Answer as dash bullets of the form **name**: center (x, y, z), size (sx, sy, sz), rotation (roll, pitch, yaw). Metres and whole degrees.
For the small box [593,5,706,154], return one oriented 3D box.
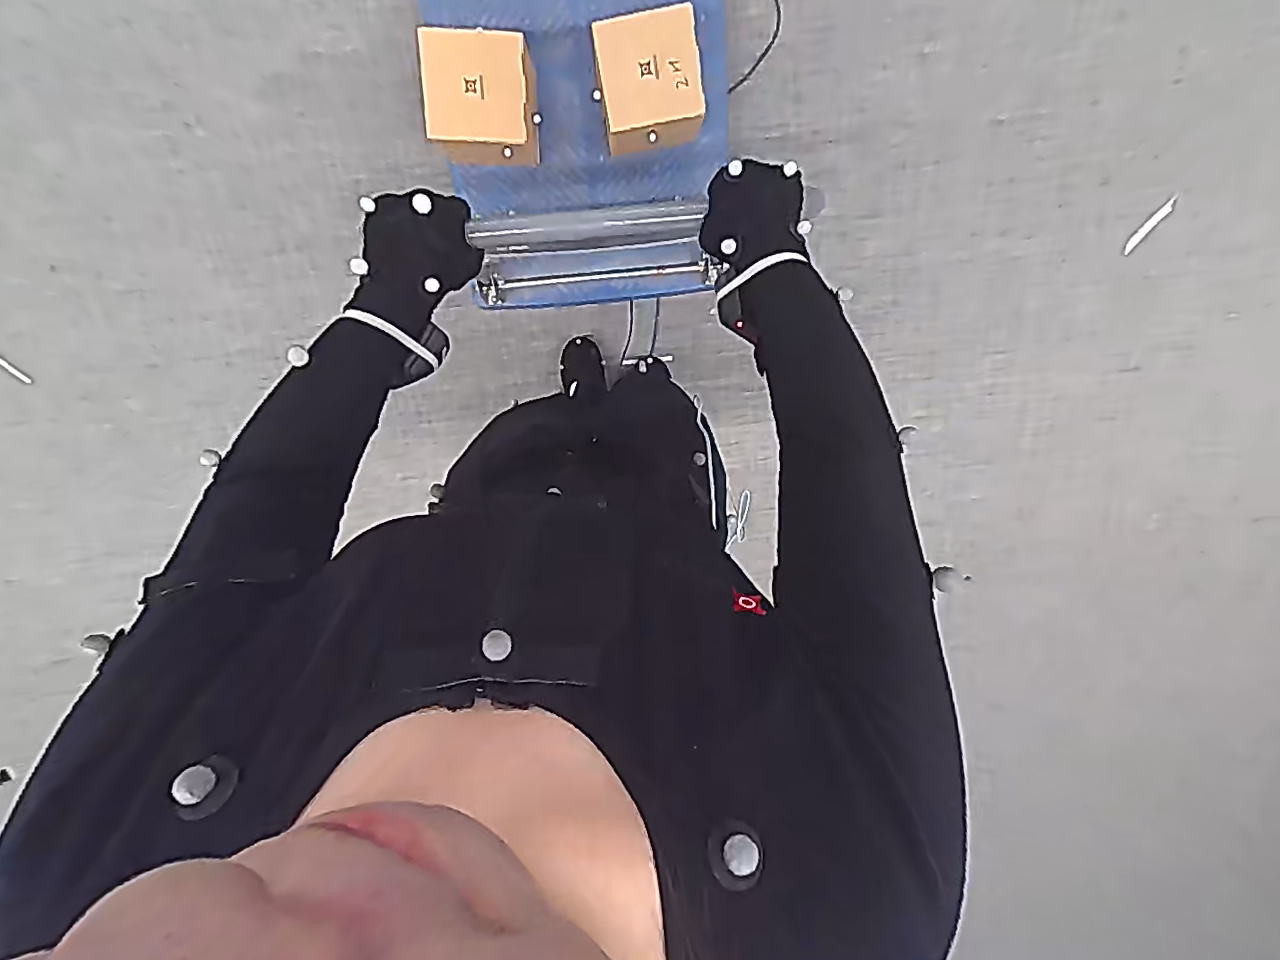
- **small box**: center (0.017, -0.736, 1.016), size (0.179, 0.176, 0.168), rotation (-11, 108, 1)

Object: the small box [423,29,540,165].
- **small box**: center (-0.287, -0.705, 1.013), size (0.179, 0.176, 0.168), rotation (-1, 107, -4)
